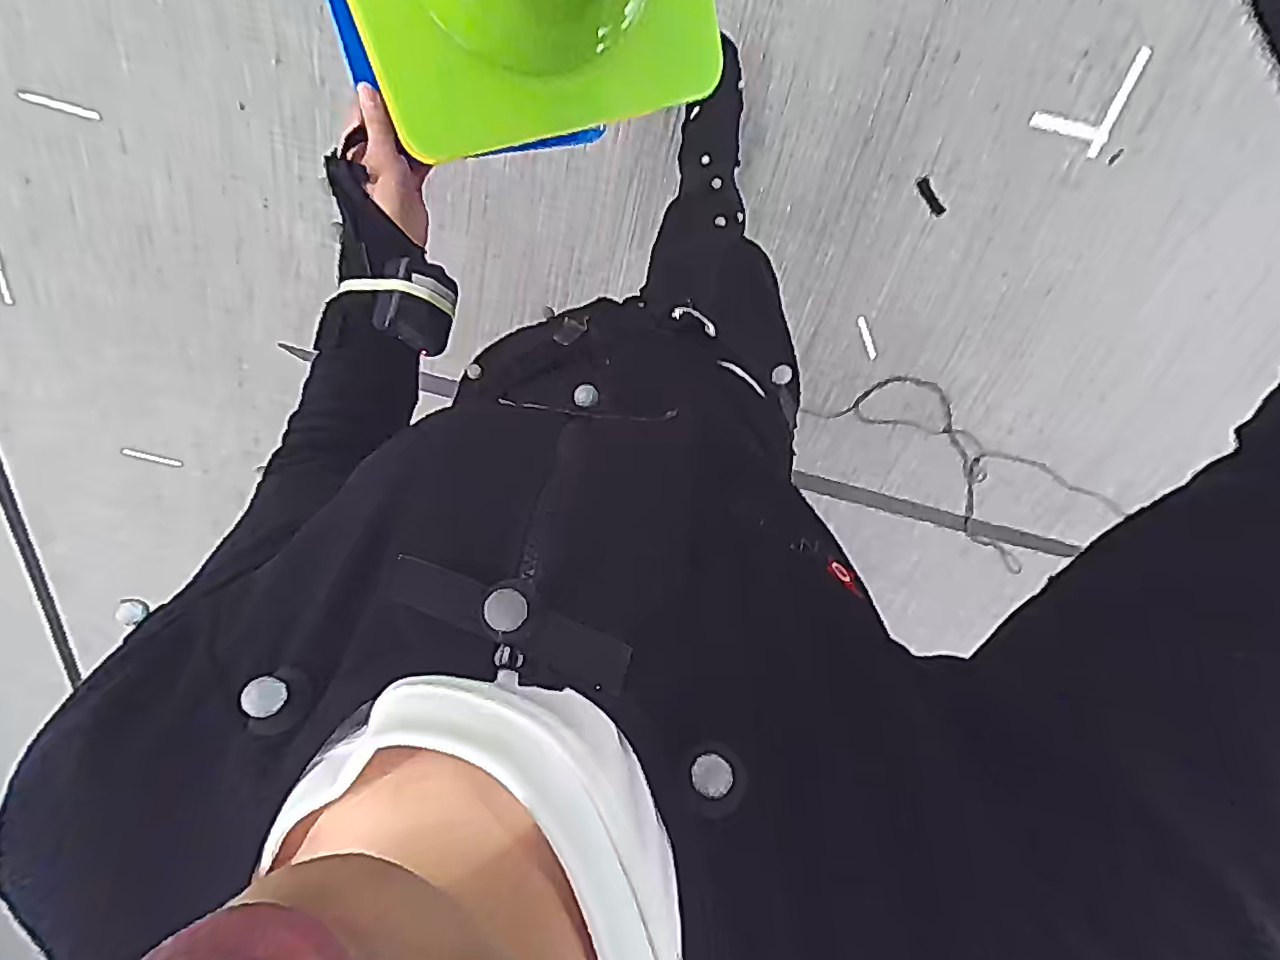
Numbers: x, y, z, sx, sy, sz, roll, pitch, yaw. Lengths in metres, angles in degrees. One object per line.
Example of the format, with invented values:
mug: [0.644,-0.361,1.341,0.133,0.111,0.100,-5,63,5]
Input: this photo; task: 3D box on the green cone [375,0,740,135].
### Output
green cone: [-0.005,-0.247,0.121,0.200,0.368,0.202,-20,115,-8]
